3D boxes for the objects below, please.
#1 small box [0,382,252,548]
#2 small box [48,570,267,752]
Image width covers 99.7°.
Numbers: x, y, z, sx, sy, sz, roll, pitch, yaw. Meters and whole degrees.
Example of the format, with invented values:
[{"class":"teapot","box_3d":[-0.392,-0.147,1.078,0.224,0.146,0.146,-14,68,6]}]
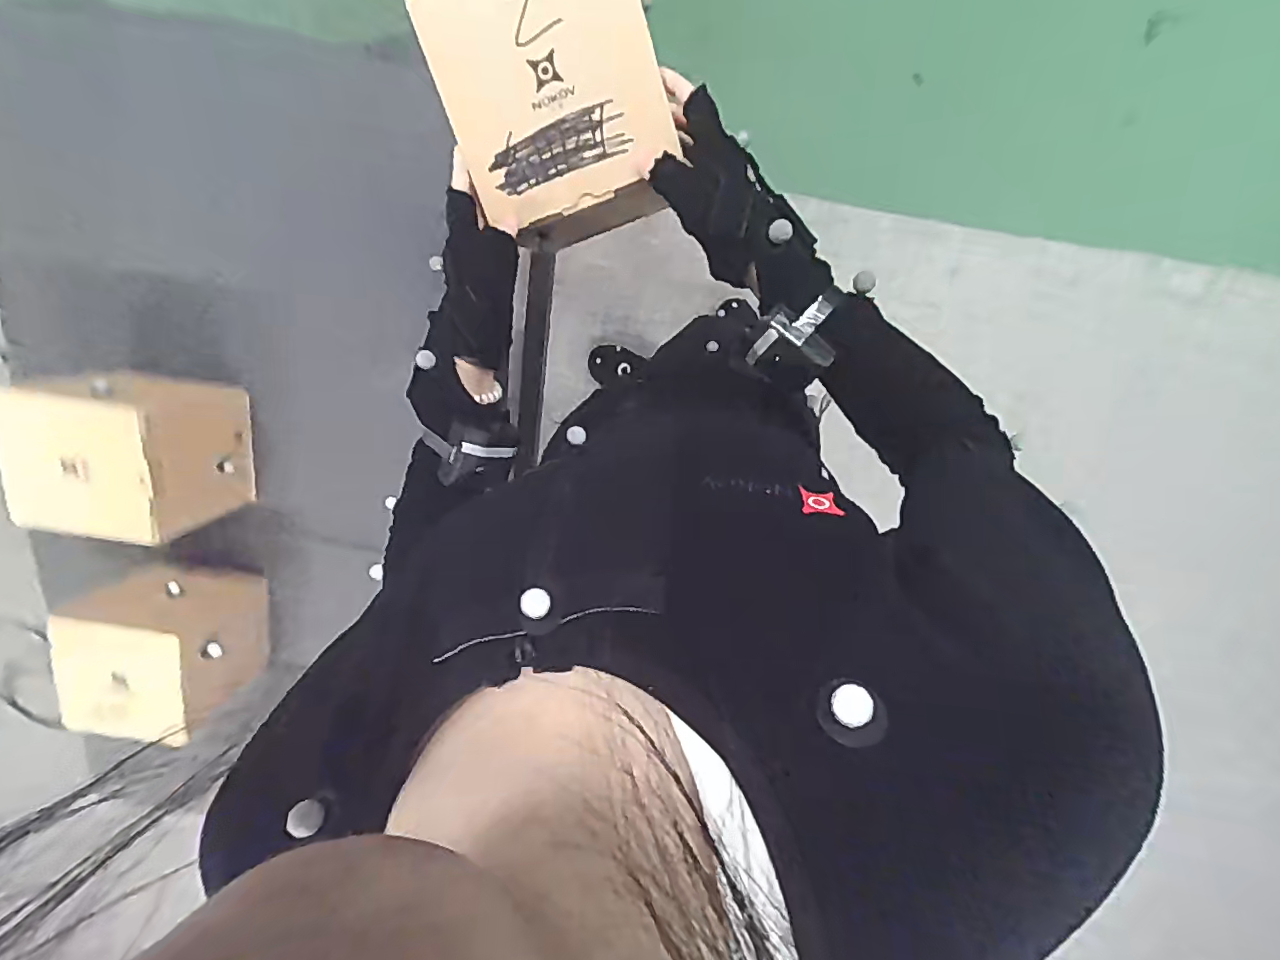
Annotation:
[{"class":"small box","box_3d":[-0.648,-0.029,0.698,0.179,0.176,0.168,8,106,-1]},{"class":"small box","box_3d":[-0.672,0.248,0.776,0.168,0.176,0.179,10,106,-2]}]
